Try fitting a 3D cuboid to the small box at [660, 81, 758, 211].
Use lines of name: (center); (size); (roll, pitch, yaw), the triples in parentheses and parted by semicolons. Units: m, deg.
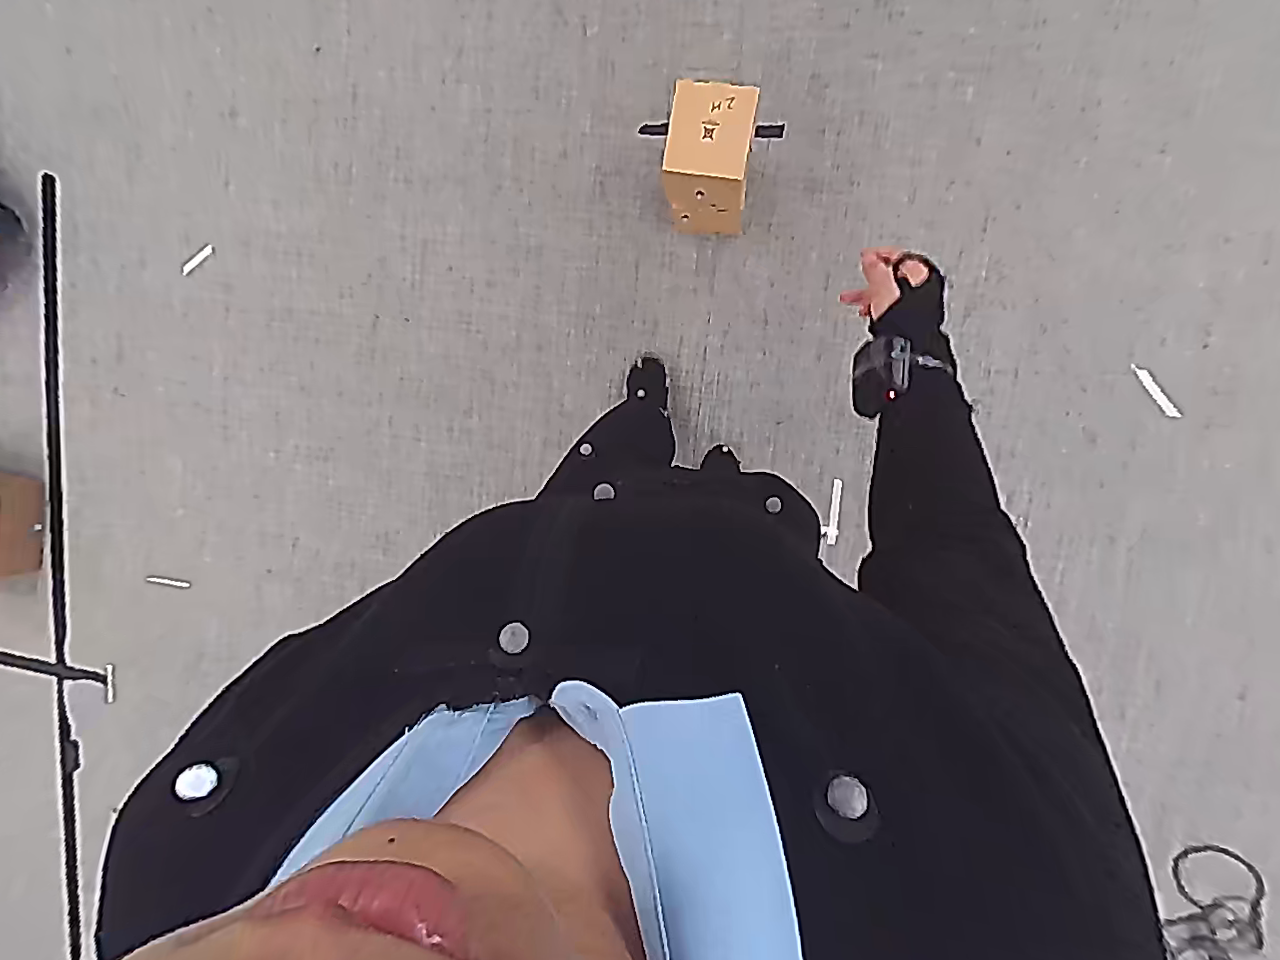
small box: (0.146, -0.694, 1.143); (0.168, 0.176, 0.179); (11, 97, 6)
